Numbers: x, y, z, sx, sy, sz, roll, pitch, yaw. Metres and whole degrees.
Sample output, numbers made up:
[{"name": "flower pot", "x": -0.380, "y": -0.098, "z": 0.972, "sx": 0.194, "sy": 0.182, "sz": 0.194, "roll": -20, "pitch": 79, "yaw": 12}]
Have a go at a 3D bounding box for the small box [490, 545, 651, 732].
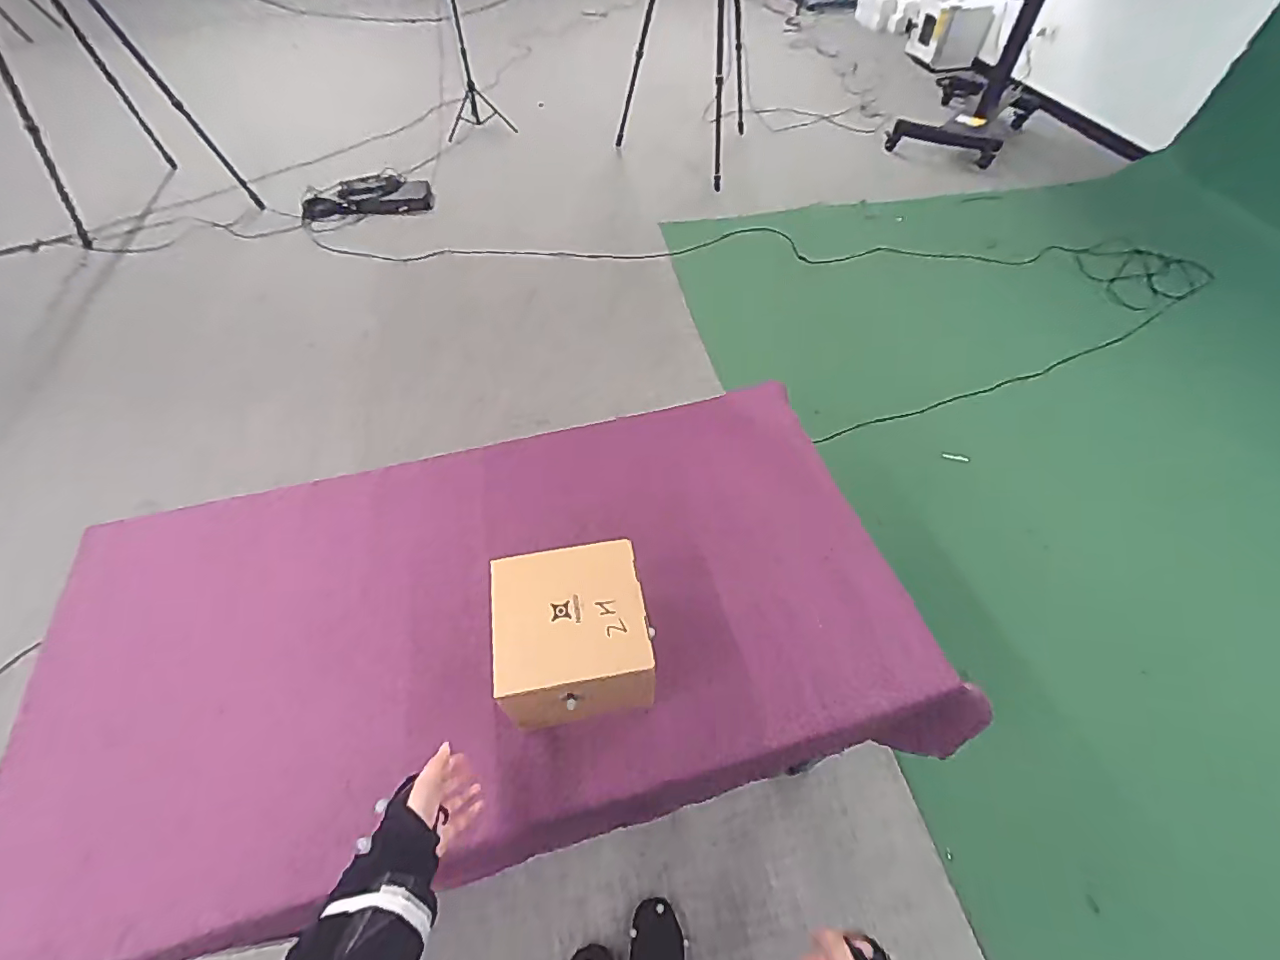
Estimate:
[{"name": "small box", "x": -0.083, "y": 0.205, "z": 0.687, "sx": 0.179, "sy": 0.176, "sz": 0.168, "roll": -8, "pitch": 53, "yaw": -6}]
